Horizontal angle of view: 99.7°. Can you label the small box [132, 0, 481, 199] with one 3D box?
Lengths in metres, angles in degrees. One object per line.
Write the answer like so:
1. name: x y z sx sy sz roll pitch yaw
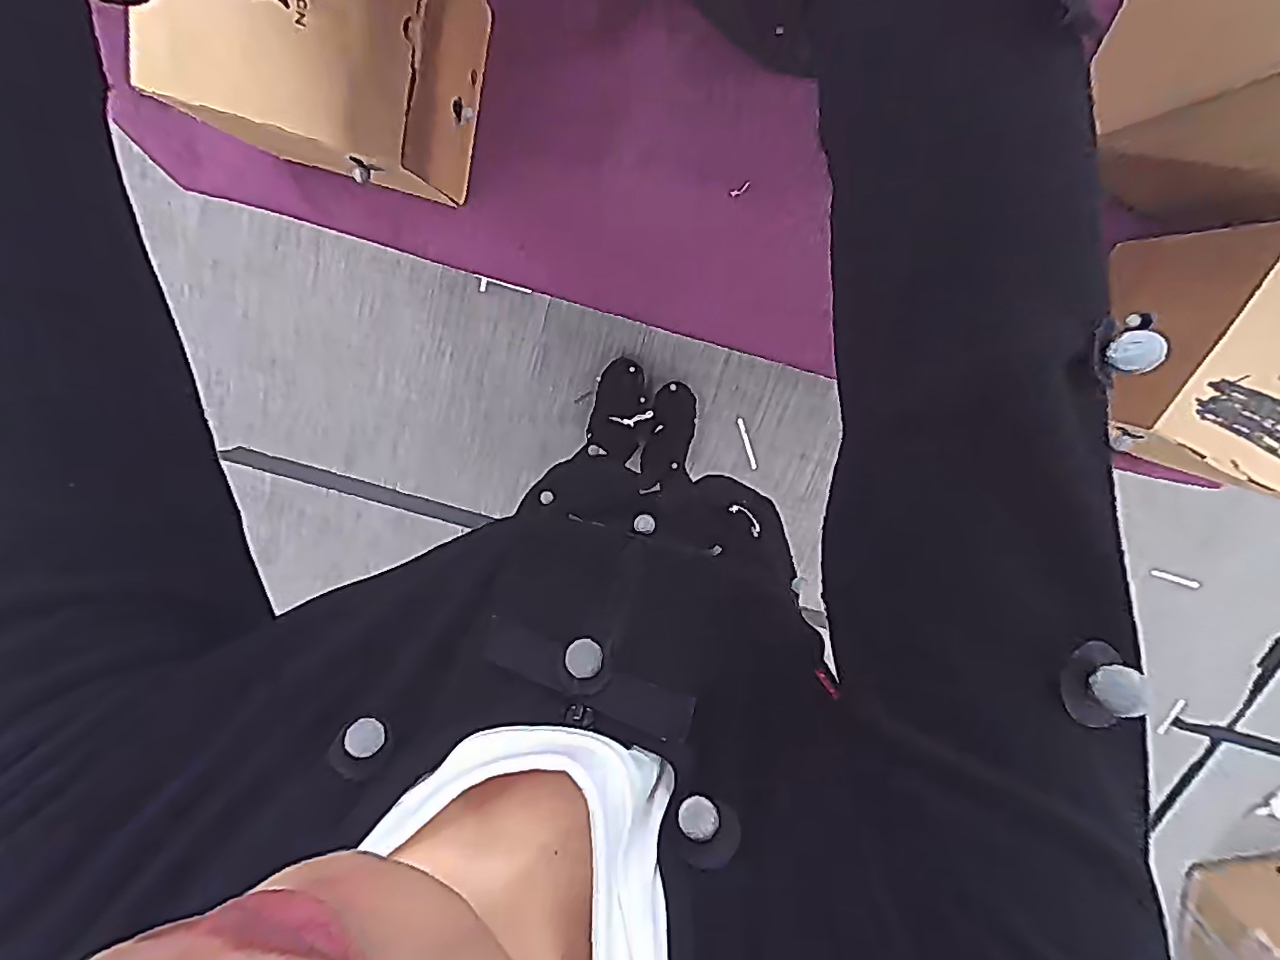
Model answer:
1. small box: -0.240 -0.341 0.426 0.179 0.176 0.168 12 107 -9
